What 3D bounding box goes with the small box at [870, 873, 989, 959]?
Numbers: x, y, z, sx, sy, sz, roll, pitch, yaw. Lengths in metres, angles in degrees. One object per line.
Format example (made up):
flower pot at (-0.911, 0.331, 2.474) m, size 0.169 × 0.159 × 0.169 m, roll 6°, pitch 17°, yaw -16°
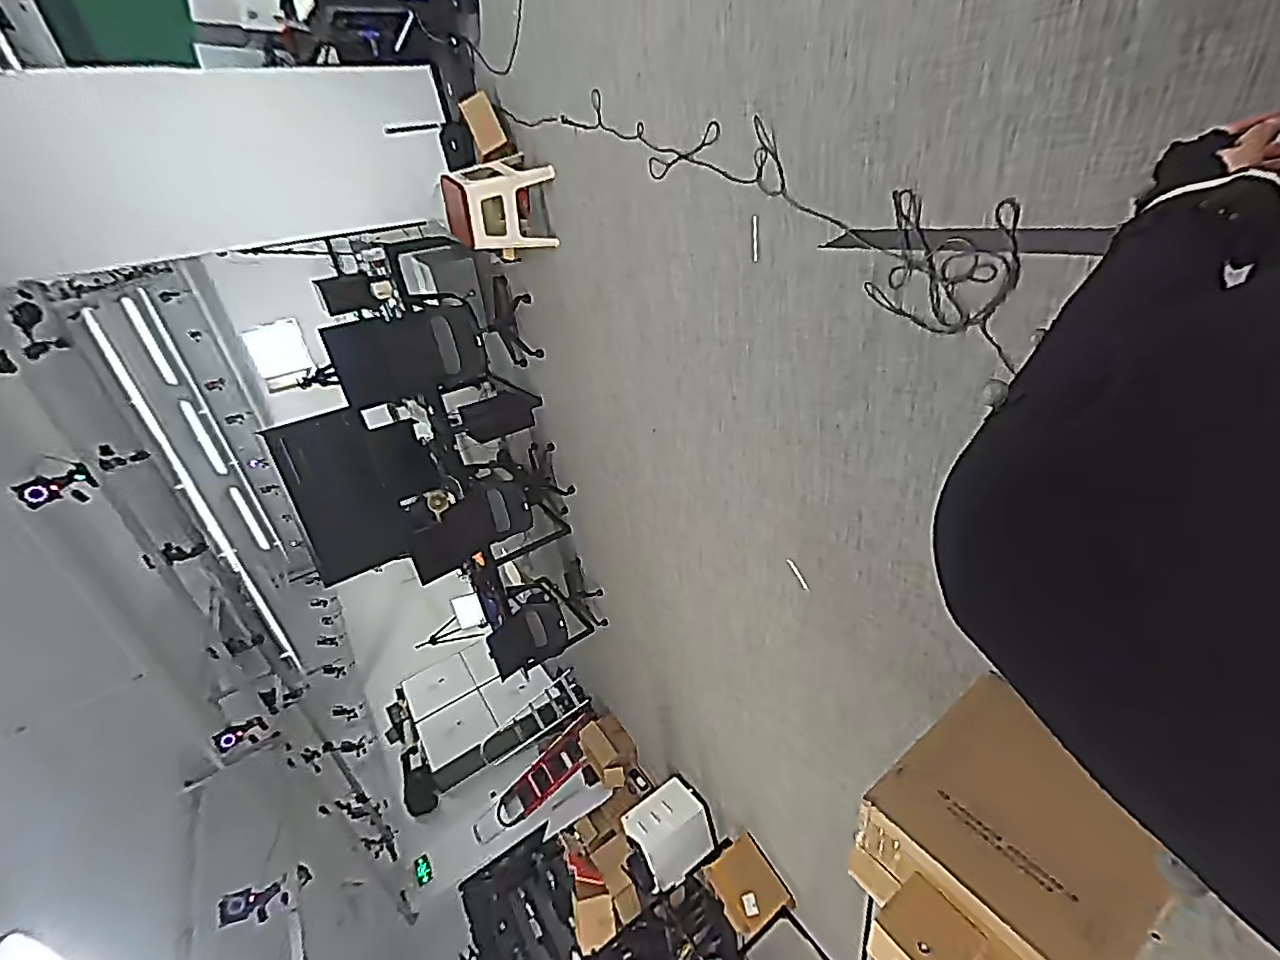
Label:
small box at (0.665, 1.070, 1.248) m, size 0.179 × 0.176 × 0.168 m, roll 33°, pitch 138°, yaw 49°
